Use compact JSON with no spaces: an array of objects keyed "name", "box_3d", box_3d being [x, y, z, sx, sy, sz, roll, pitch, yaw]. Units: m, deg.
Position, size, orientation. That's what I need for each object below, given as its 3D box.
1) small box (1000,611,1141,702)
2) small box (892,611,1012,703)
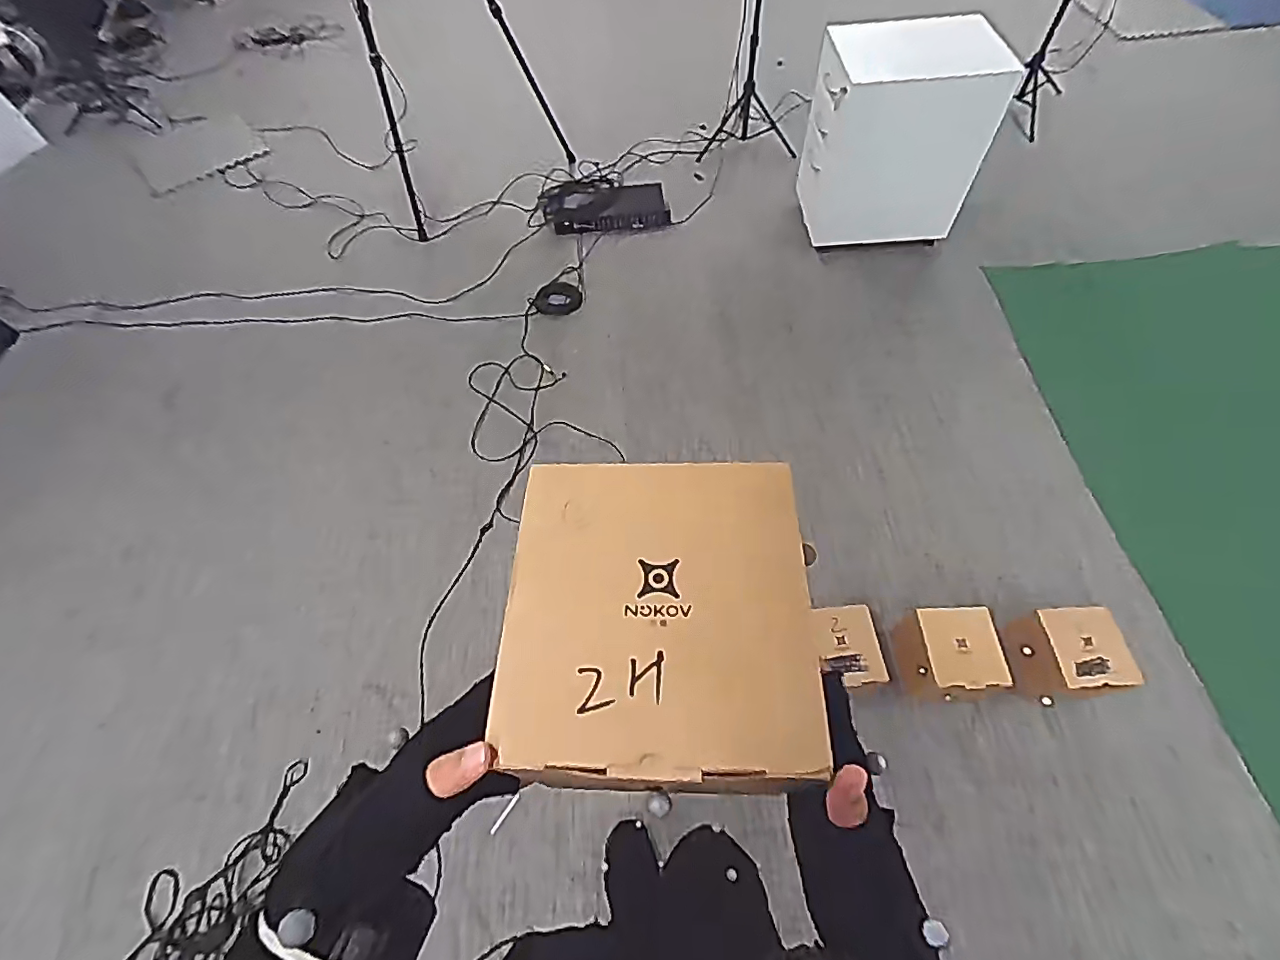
[{"name":"small box","box_3d":[0.990,0.418,1.263,0.168,0.176,0.179,-3,59,1]},{"name":"small box","box_3d":[0.721,0.421,1.276,0.168,0.176,0.179,-2,60,1]}]
